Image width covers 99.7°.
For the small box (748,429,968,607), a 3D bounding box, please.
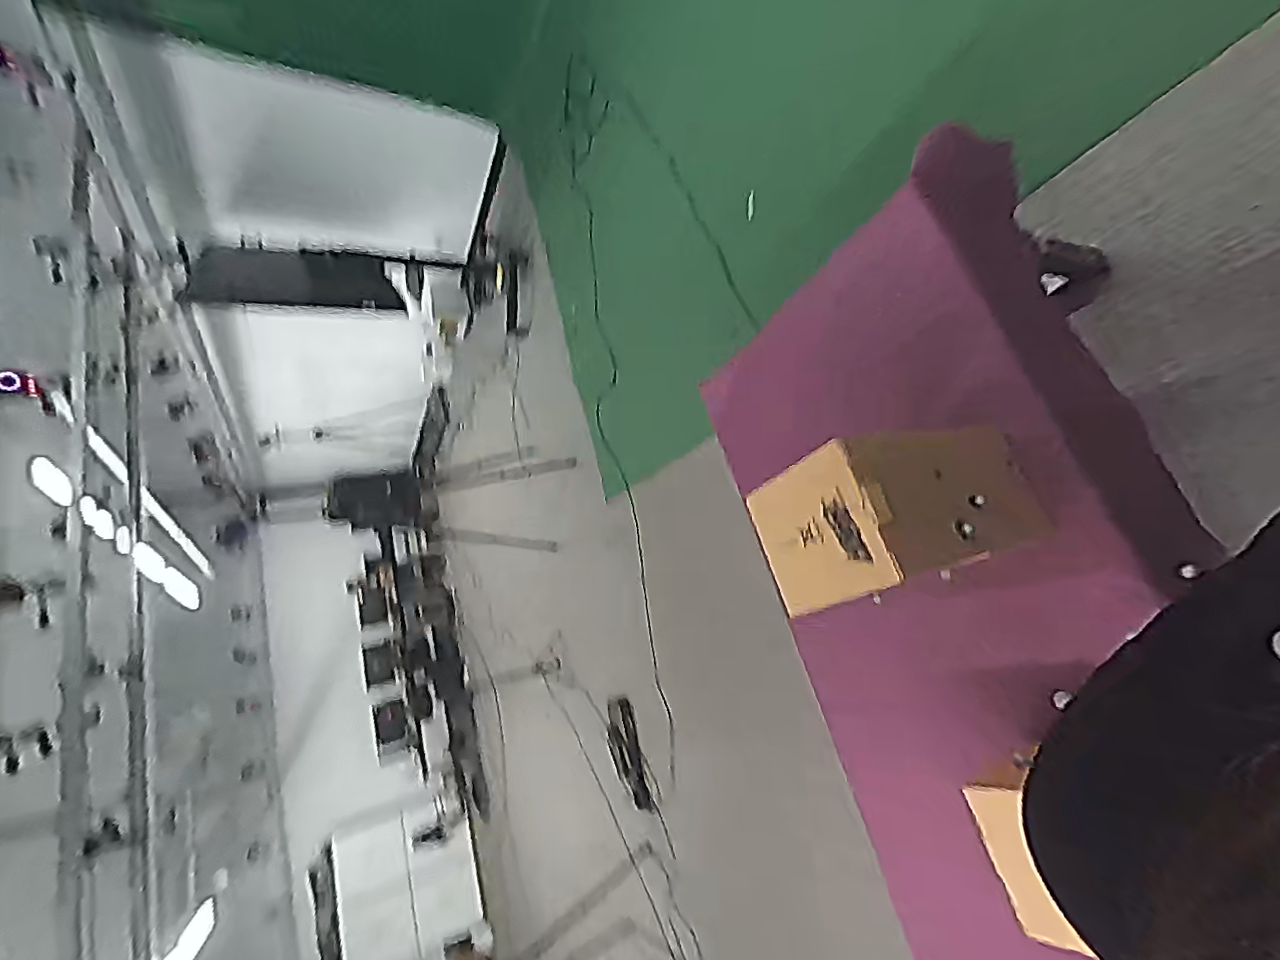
[{"bbox_3d":[0.277,0.046,0.687,0.179,0.176,0.168,-44,59,54],"label":"small box"}]
